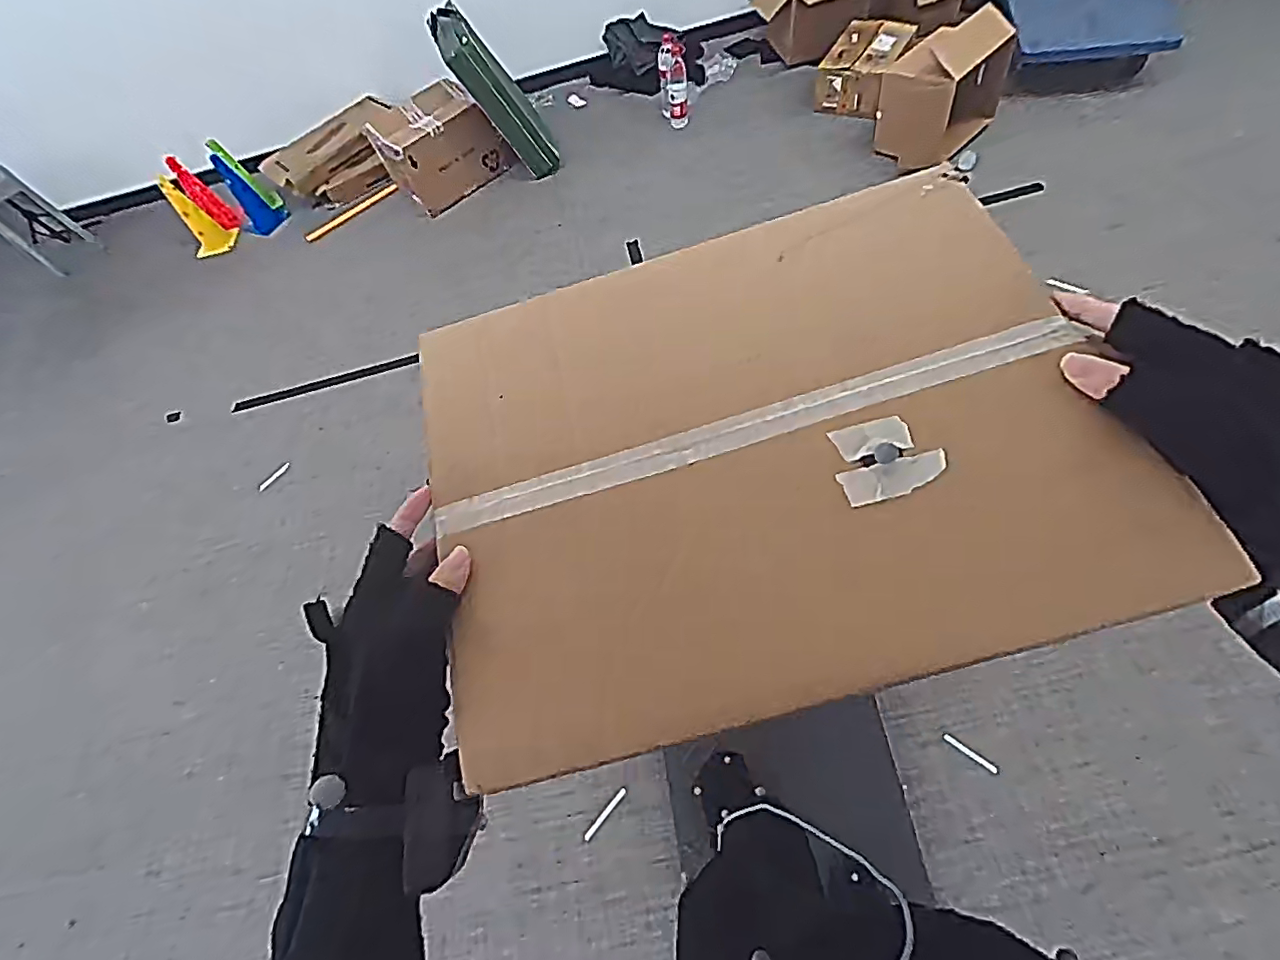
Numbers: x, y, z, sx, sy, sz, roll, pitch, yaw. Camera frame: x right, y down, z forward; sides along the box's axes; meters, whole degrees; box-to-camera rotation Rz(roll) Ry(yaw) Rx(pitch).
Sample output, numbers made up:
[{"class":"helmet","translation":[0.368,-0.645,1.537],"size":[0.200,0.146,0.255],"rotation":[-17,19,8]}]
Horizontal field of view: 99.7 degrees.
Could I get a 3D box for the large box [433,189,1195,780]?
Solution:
[{"class":"large box","translation":[0.087,0.031,0.485],"size":[0.408,0.320,0.320],"rotation":[-17,67,3]}]
